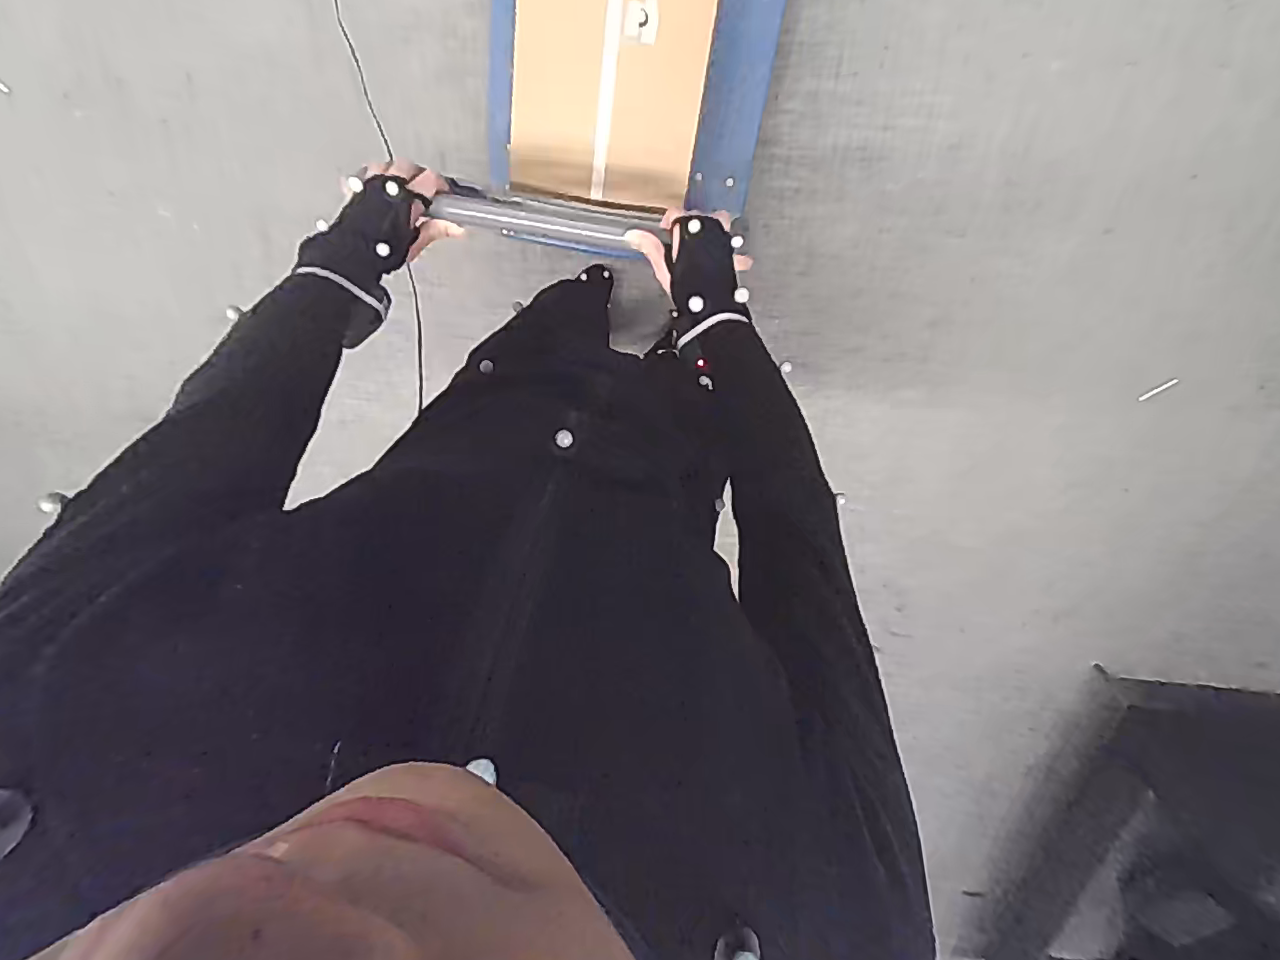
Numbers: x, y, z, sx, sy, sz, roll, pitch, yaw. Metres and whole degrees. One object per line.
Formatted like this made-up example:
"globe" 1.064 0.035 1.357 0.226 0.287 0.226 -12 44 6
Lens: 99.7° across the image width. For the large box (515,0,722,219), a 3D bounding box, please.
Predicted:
"large box" -0.030 -0.724 1.004 0.320 0.320 0.408 9 115 1
